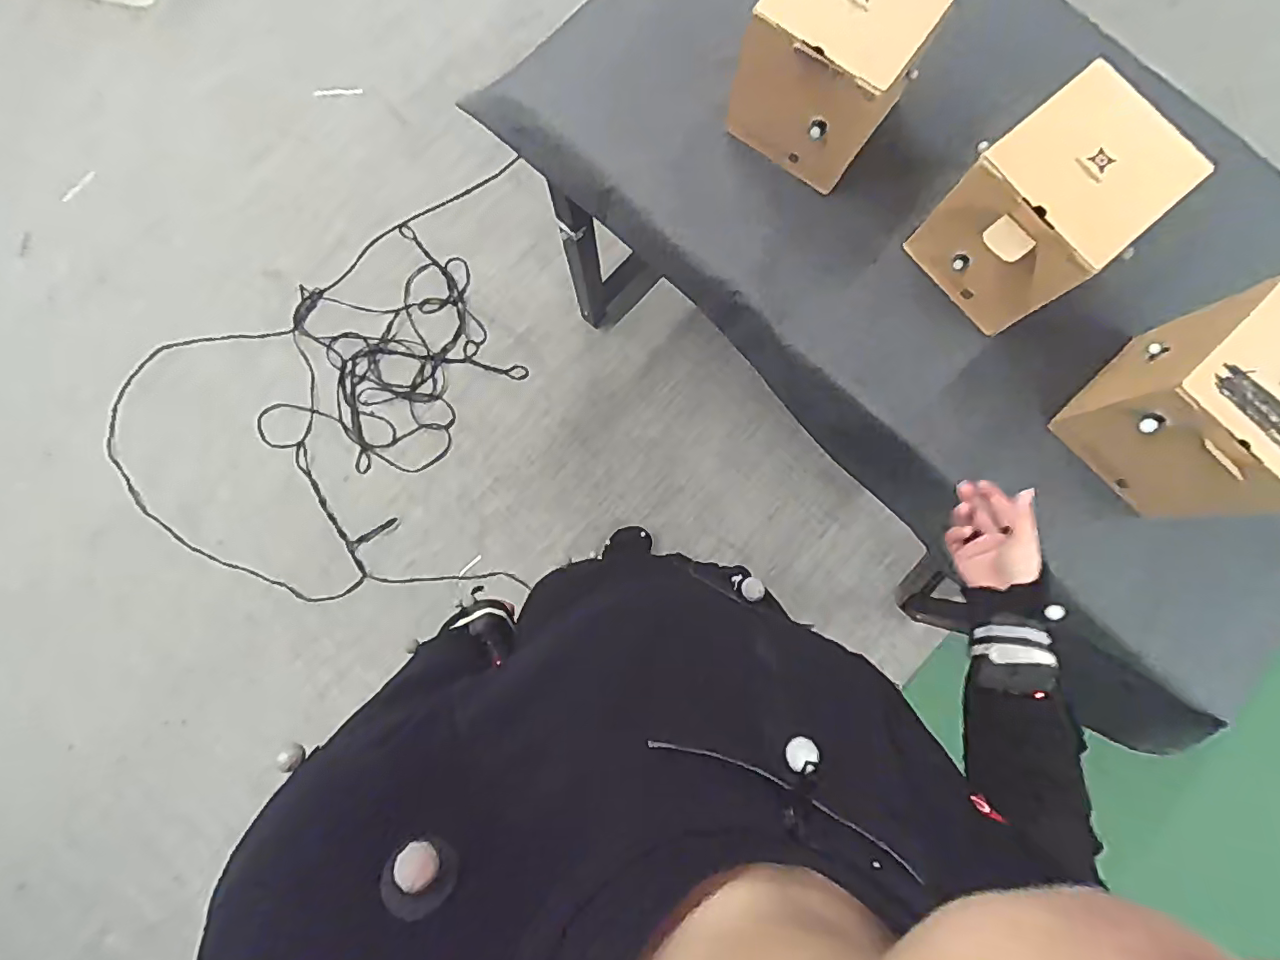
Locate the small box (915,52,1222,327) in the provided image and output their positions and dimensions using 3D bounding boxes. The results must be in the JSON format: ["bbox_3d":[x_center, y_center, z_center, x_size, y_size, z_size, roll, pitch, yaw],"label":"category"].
[{"bbox_3d":[0.459,-0.310,0.612,0.179,0.176,0.168,-40,86,-5],"label":"small box"}]

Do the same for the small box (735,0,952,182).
[{"bbox_3d":[0.228,-0.499,0.632,0.168,0.176,0.179,36,83,2],"label":"small box"}]
